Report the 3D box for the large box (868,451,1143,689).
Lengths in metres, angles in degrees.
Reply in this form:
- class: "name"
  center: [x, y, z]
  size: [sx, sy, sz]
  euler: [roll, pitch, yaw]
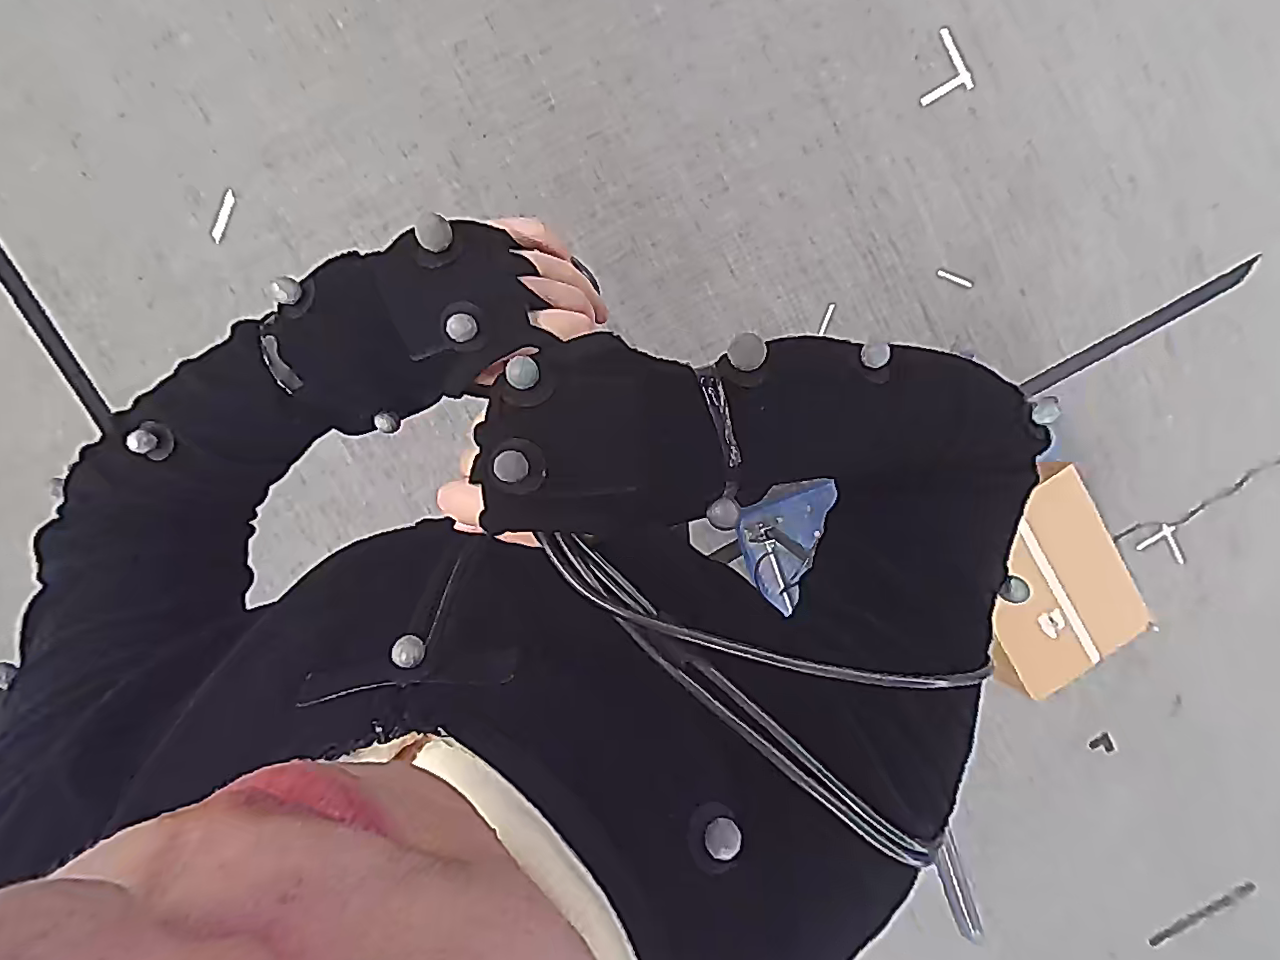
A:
- class: "large box"
  center: [0.821, 0.182, 1.261]
  size: [0.320, 0.320, 0.408]
  euler: [-32, 98, -1]
